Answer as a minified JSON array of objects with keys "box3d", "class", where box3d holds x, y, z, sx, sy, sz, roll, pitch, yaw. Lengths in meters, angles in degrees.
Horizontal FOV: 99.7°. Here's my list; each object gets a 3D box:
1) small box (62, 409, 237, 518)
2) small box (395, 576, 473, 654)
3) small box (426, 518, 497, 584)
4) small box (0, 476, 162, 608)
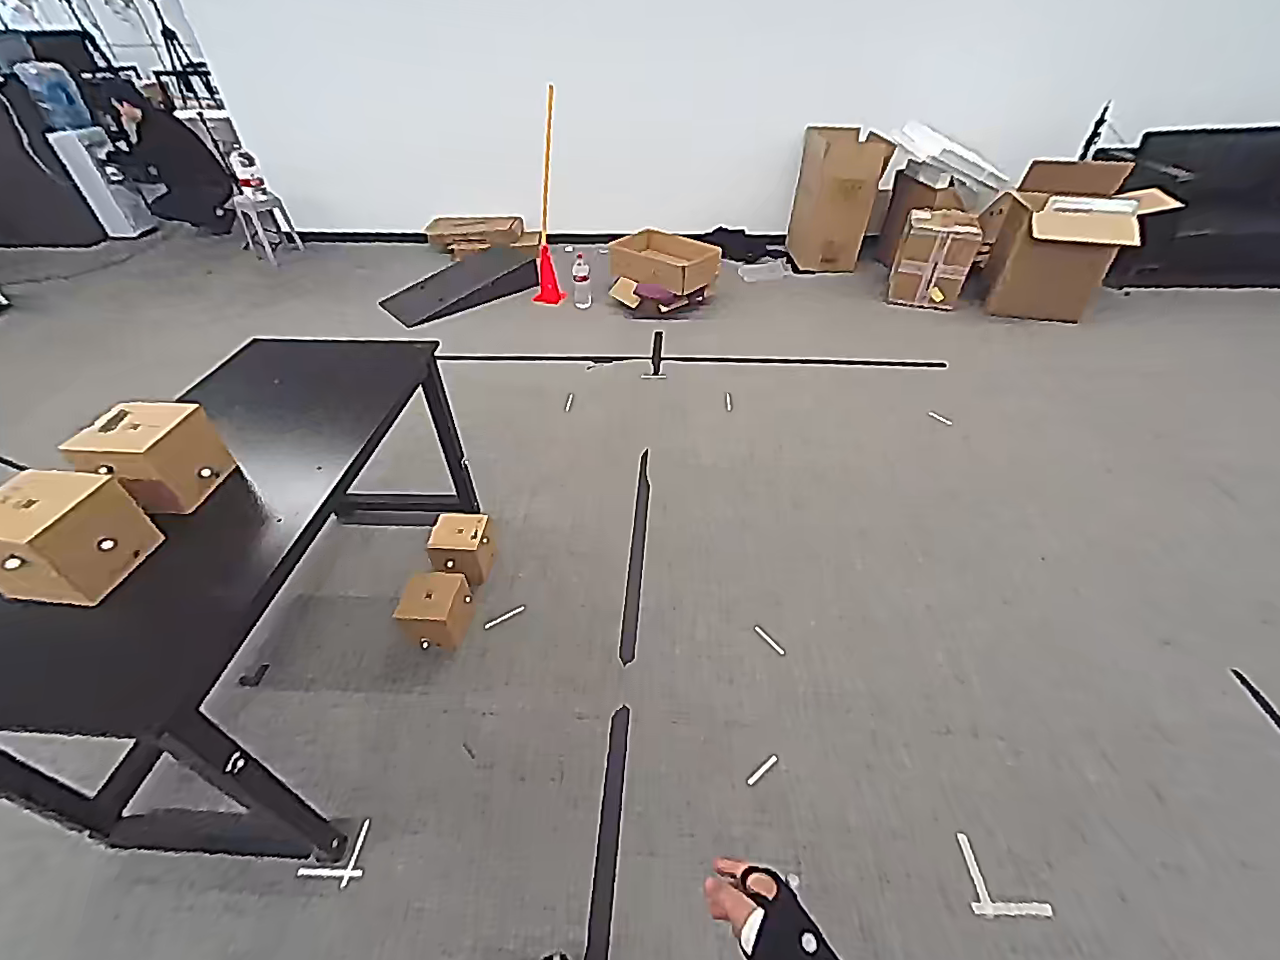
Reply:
[{"box3d":[-1.015,-0.034,1.139,0.179,0.176,0.168,2,41,2],"class":"small box"},{"box3d":[-0.641,0.426,1.712,0.168,0.176,0.179,1,42,3],"class":"small box"},{"box3d":[-0.622,0.252,1.908,0.179,0.176,0.168,1,42,3],"class":"small box"},{"box3d":[-1.034,0.113,0.970,0.179,0.176,0.168,3,41,6],"class":"small box"}]
